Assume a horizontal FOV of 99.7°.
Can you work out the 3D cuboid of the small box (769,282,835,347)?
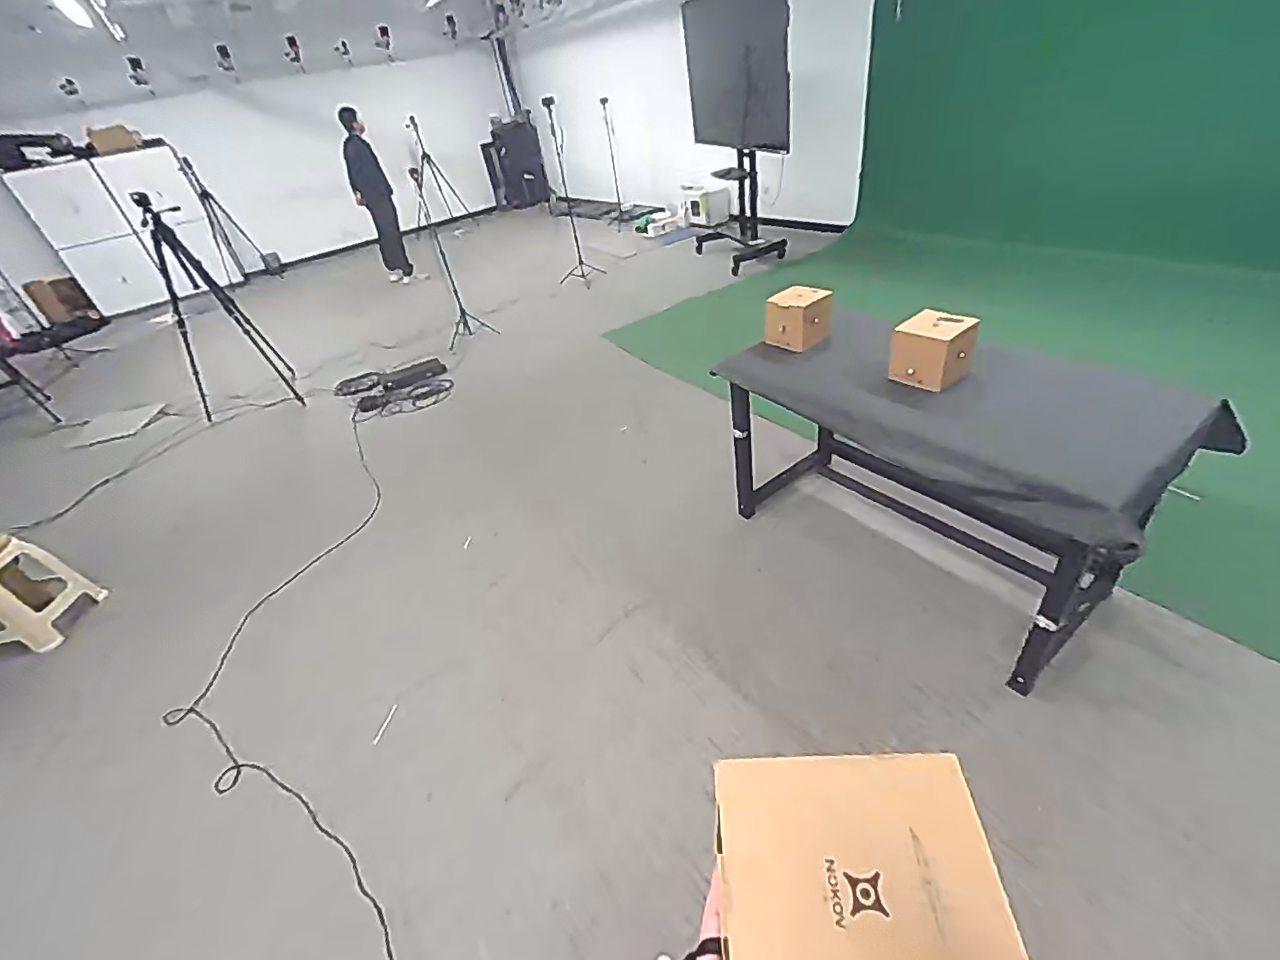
[{"bbox_3d":[0.592,-0.603,1.972,0.179,0.176,0.168,-32,42,-25],"label":"small box"}]

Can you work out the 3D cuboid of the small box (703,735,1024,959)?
[{"bbox_3d":[0.146,0.306,0.401,0.179,0.176,0.168,-6,46,6],"label":"small box"}]

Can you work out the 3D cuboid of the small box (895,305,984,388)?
[{"bbox_3d":[0.891,-0.402,1.625,0.179,0.176,0.168,-31,41,-23],"label":"small box"}]
